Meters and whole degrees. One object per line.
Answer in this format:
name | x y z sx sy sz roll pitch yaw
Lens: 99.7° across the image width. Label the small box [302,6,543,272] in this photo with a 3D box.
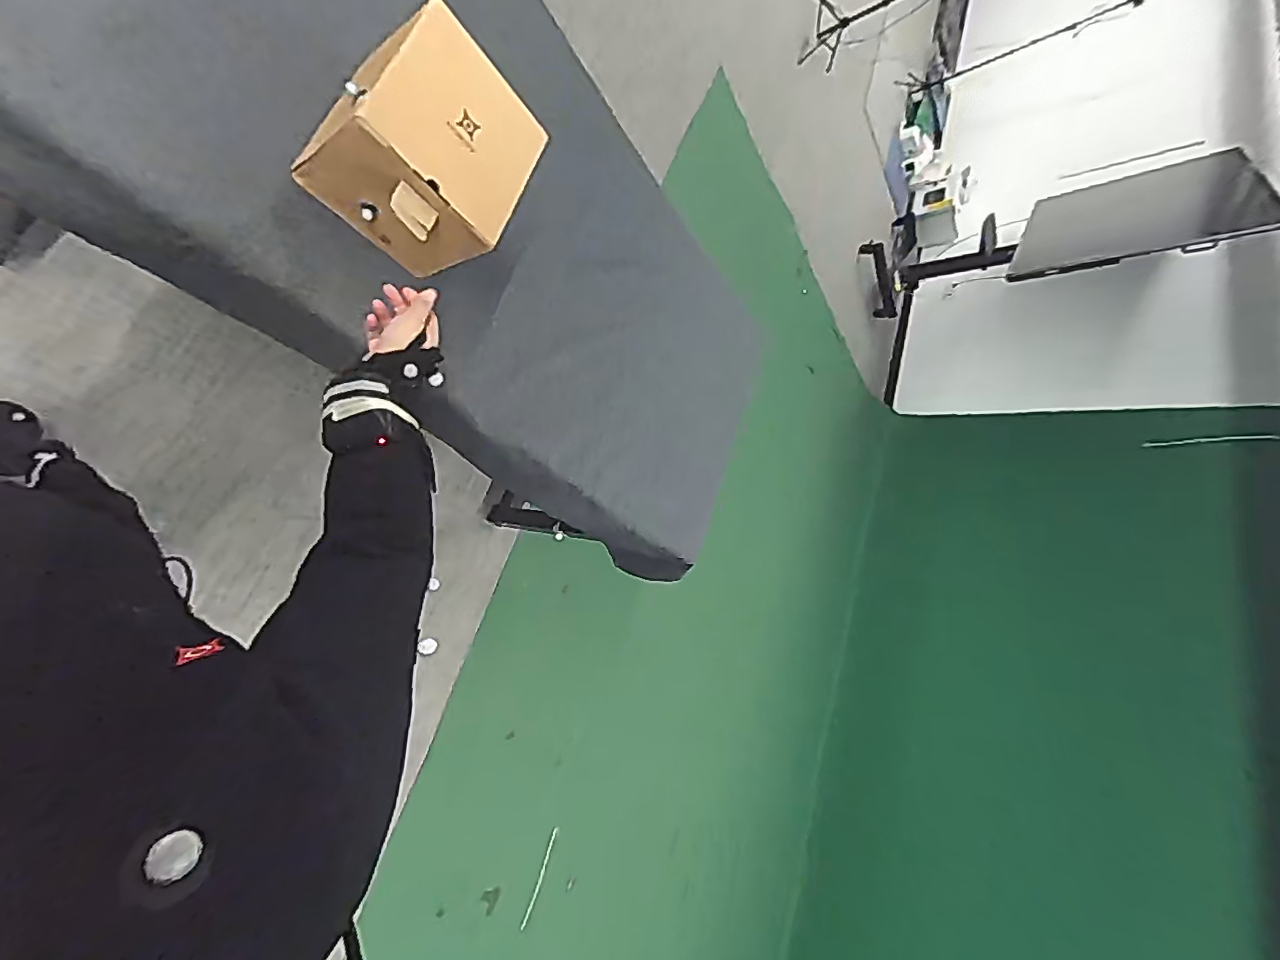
small box | -0.248 -0.373 0.624 0.168 0.176 0.179 37 64 -46
